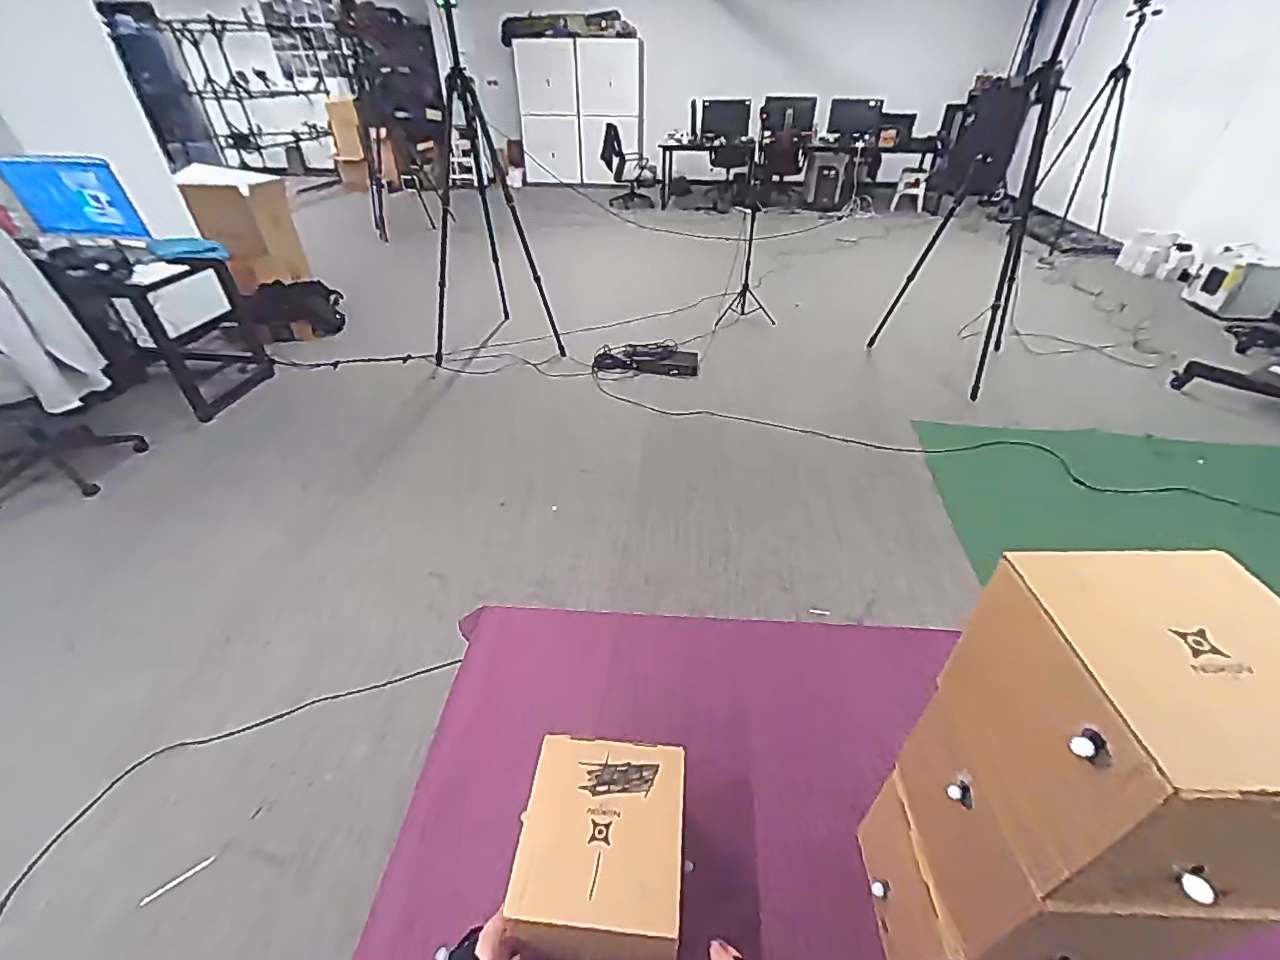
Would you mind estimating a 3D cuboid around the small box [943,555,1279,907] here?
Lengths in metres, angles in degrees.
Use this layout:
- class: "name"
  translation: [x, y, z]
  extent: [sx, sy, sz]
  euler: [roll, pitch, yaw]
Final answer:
- class: "small box"
  translation: [0.355, 0.174, 0.391]
  extent: [0.168, 0.176, 0.179]
  euler: [-1, 38, 1]

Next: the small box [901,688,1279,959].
- class: "small box"
  translation: [0.360, 0.308, 0.484]
  extent: [0.168, 0.176, 0.179]
  euler: [1, 38, 3]

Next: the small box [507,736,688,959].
- class: "small box"
  translation: [-0.036, 0.422, 0.609]
  extent: [0.168, 0.176, 0.179]
  euler: [3, 38, 5]

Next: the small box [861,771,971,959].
- class: "small box"
  translation: [0.362, 0.440, 0.580]
  extent: [0.179, 0.176, 0.168]
  euler: [2, 37, 3]
